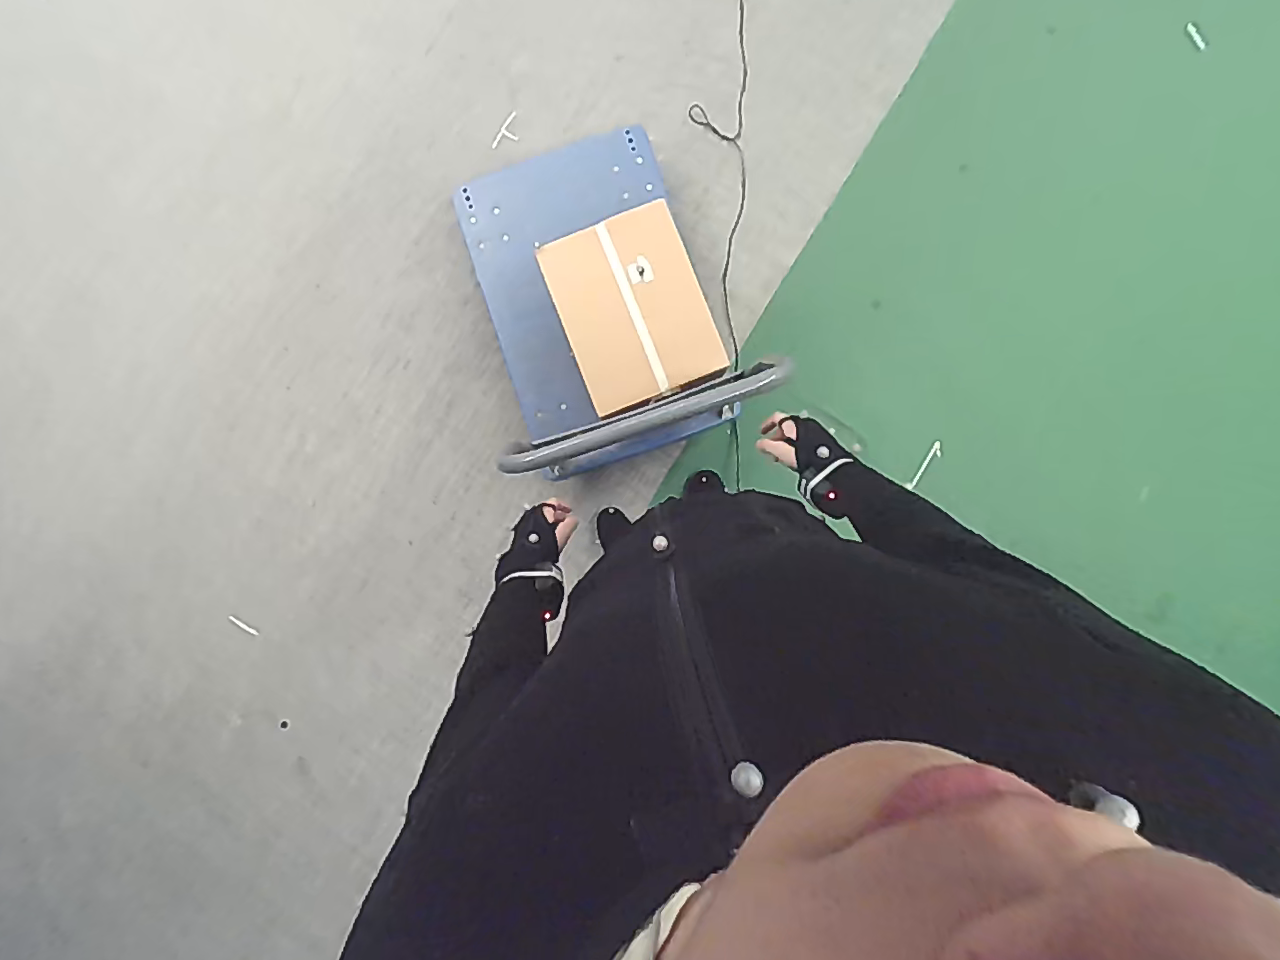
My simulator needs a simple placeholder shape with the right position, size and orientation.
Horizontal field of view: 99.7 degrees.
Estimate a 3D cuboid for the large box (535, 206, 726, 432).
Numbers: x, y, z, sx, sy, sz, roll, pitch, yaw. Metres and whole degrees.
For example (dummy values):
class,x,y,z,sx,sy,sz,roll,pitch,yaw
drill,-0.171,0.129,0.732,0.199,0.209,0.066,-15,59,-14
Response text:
class,x,y,z,sx,sy,sz,roll,pitch,yaw
large box,-0.017,-0.374,1.357,0.320,0.320,0.408,-22,87,0
